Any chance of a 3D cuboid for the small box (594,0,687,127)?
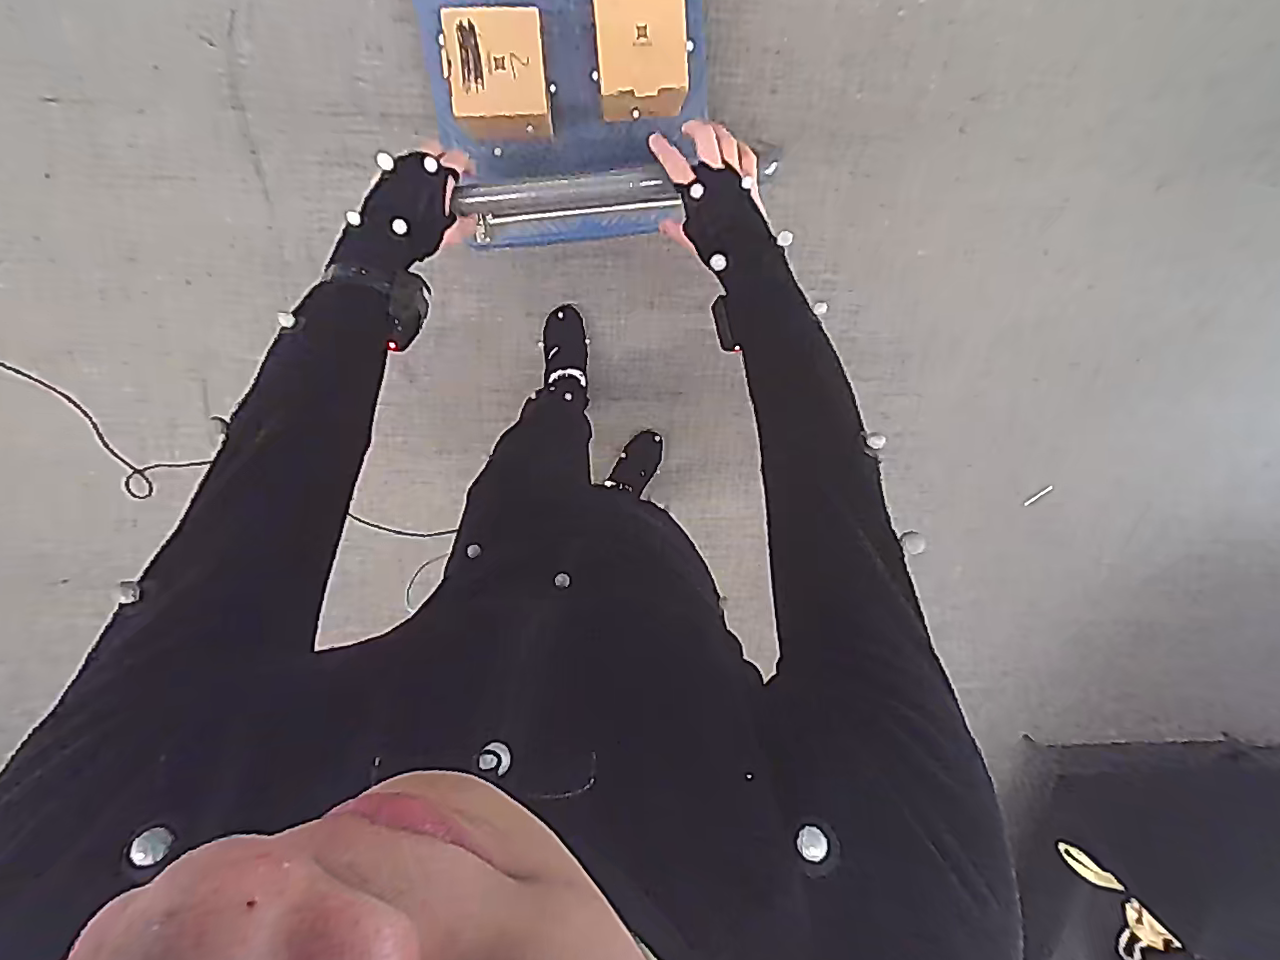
[{"bbox_3d":[-0.003,-0.836,1.082,0.168,0.176,0.179,-6,110,-2],"label":"small box"}]
